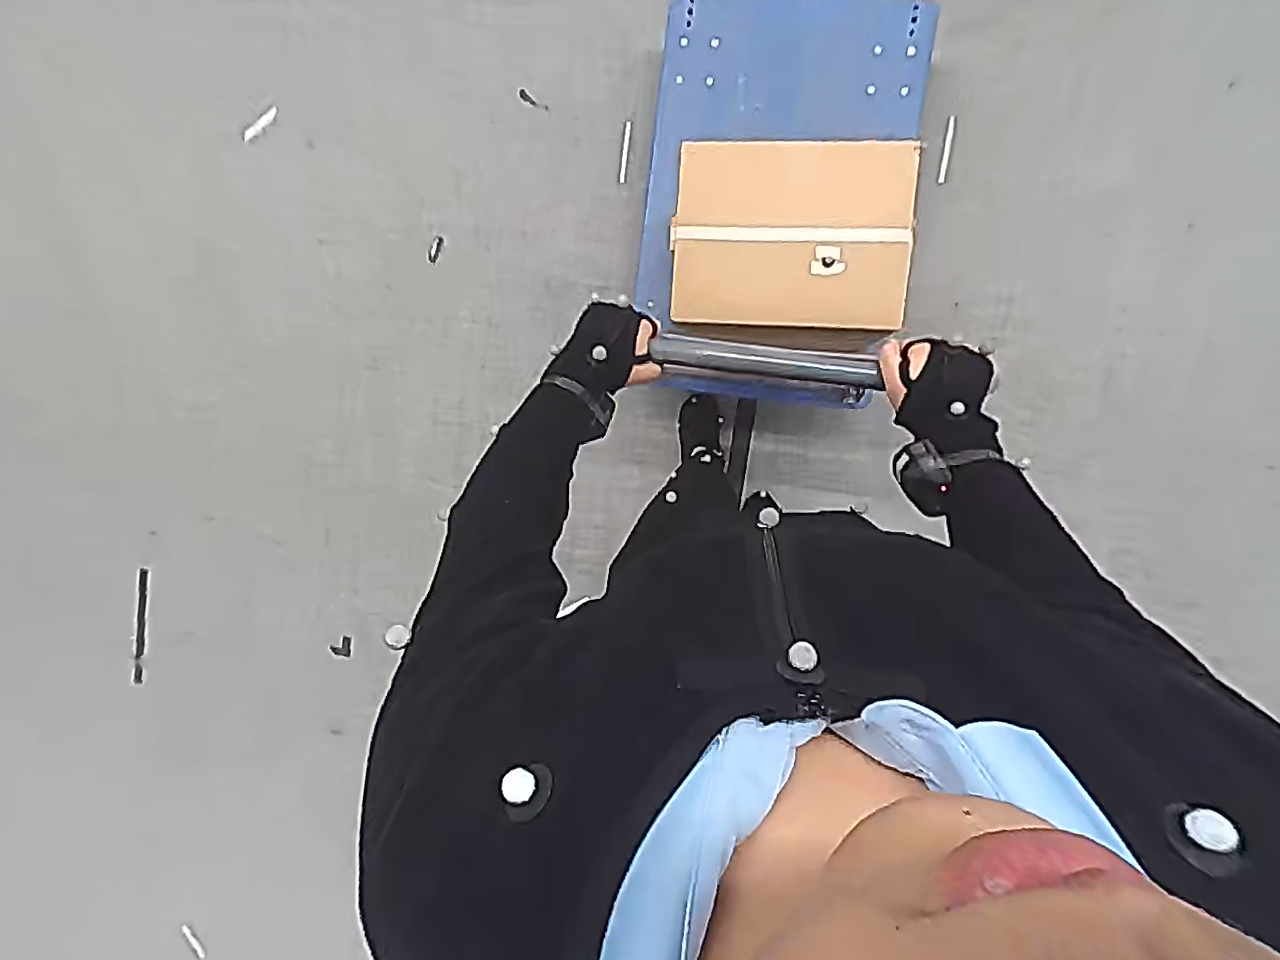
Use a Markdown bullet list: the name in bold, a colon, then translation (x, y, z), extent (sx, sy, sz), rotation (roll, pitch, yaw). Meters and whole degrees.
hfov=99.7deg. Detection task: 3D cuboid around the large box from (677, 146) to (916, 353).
- **large box**: translation (0.284, -0.441, 1.103), extent (0.408, 0.320, 0.320), rotation (4, 96, 6)
